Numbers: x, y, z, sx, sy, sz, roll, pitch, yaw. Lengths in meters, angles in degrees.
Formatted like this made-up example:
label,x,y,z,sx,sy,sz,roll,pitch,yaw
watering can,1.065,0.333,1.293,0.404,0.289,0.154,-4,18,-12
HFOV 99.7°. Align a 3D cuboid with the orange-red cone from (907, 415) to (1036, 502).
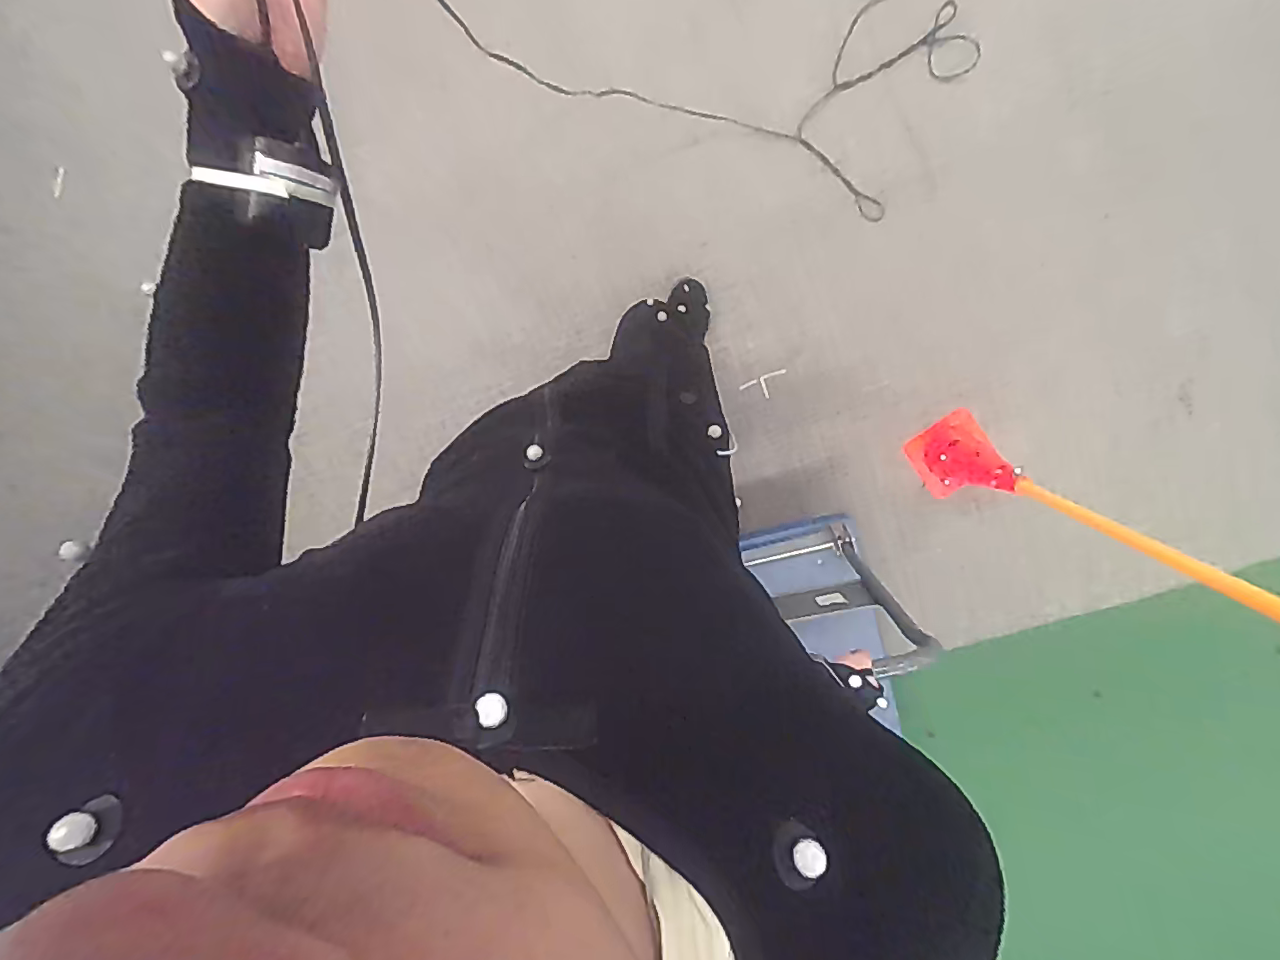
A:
label,x,y,z,sx,sy,sz,roll,pitch,yaw
orange-red cone,0.859,-0.018,1.345,0.199,0.360,0.198,-35,99,12
